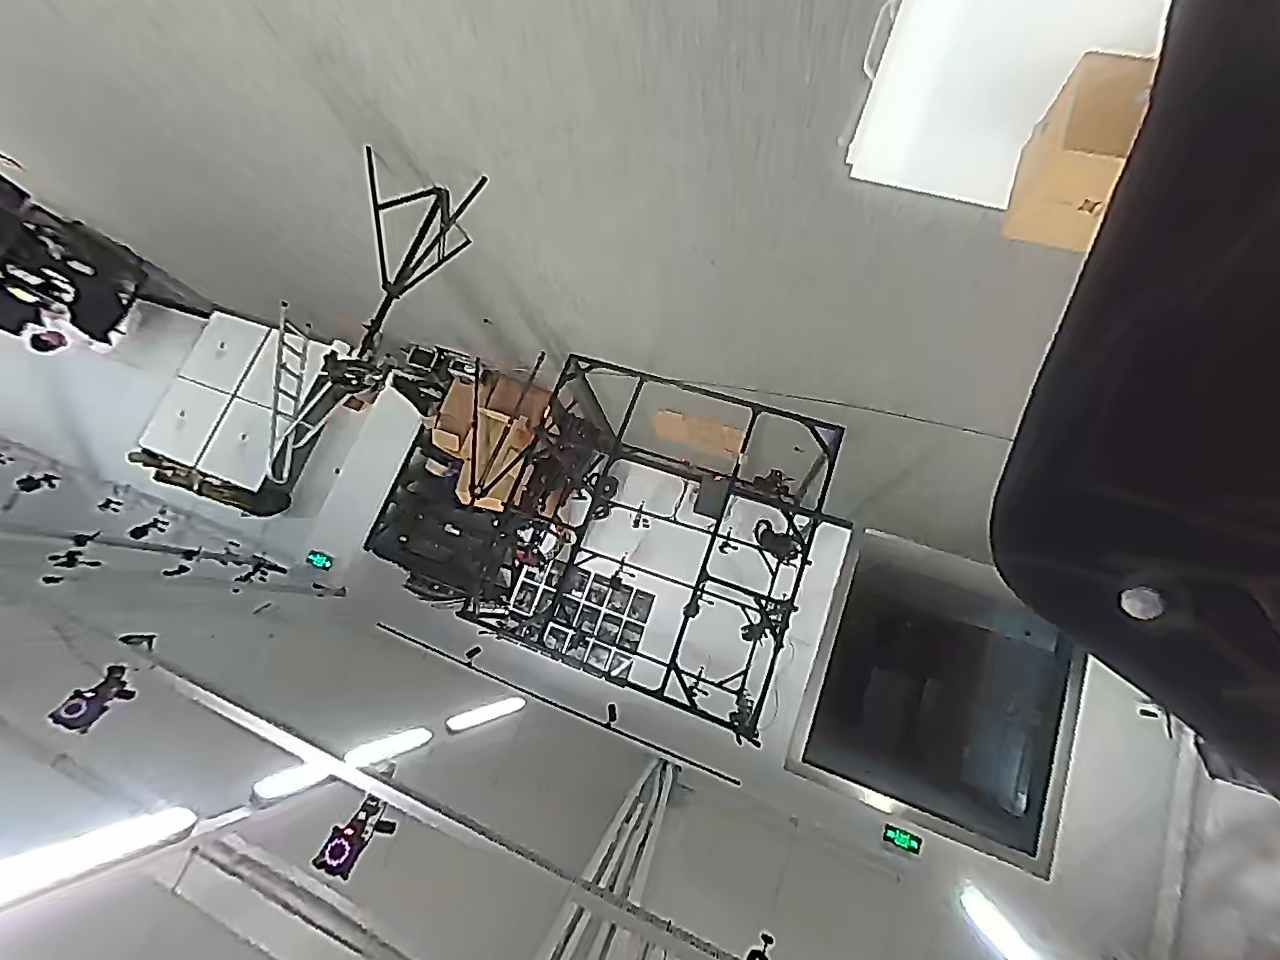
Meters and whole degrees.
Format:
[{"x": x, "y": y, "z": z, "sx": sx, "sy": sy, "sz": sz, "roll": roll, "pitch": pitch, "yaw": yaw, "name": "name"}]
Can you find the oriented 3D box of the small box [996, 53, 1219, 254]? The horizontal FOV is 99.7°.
[{"x": 0.655, "y": -0.460, "z": 0.769, "sx": 0.179, "sy": 0.176, "sz": 0.168, "roll": 18, "pitch": 168, "yaw": 12, "name": "small box"}]
